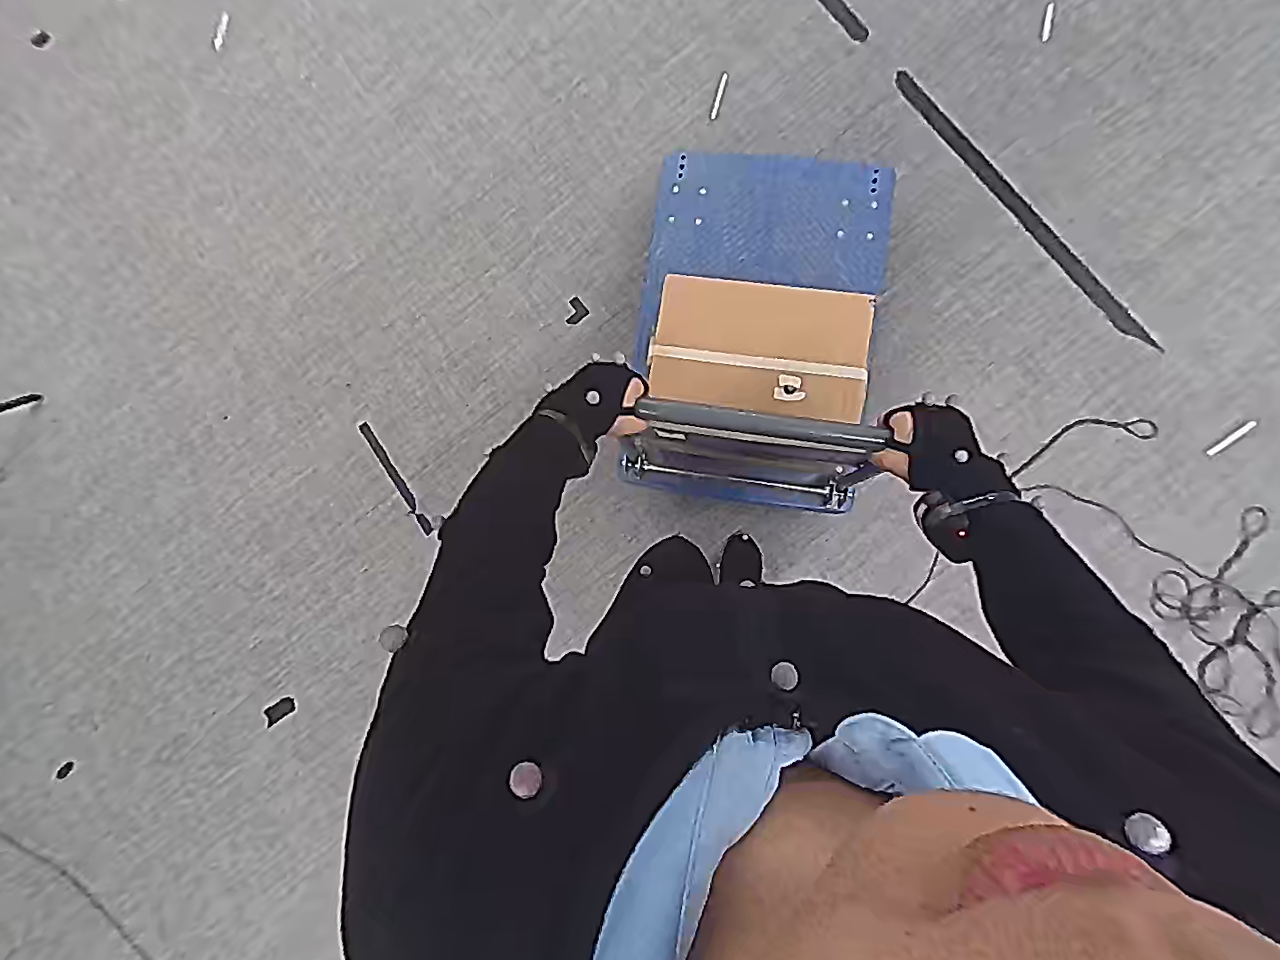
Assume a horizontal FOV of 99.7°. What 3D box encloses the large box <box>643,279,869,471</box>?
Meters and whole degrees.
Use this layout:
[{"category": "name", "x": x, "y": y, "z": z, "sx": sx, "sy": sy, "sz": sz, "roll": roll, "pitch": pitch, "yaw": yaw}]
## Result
[{"category": "large box", "x": 0.233, "y": -0.210, "z": 1.187, "sx": 0.408, "sy": 0.320, "sz": 0.320, "roll": 9, "pitch": 88, "yaw": 6}]
